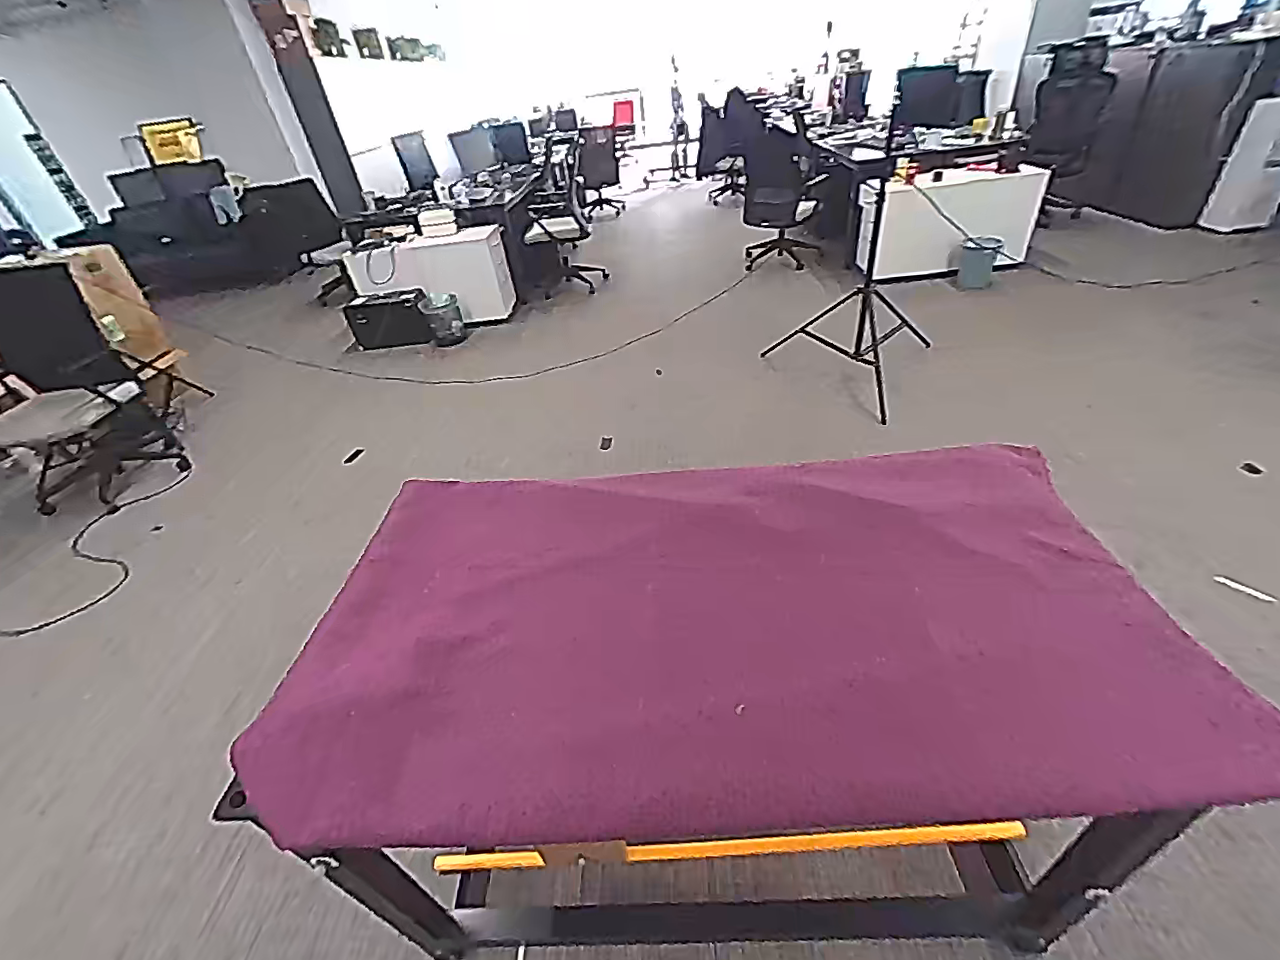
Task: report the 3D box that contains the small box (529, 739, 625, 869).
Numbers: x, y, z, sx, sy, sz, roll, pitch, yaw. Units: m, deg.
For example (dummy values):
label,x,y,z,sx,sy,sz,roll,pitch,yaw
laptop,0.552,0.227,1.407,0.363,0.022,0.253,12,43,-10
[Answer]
label,x,y,z,sx,sy,sz,roll,pitch,yaw
small box,-0.123,0.668,1.116,0.168,0.176,0.179,-7,39,2
